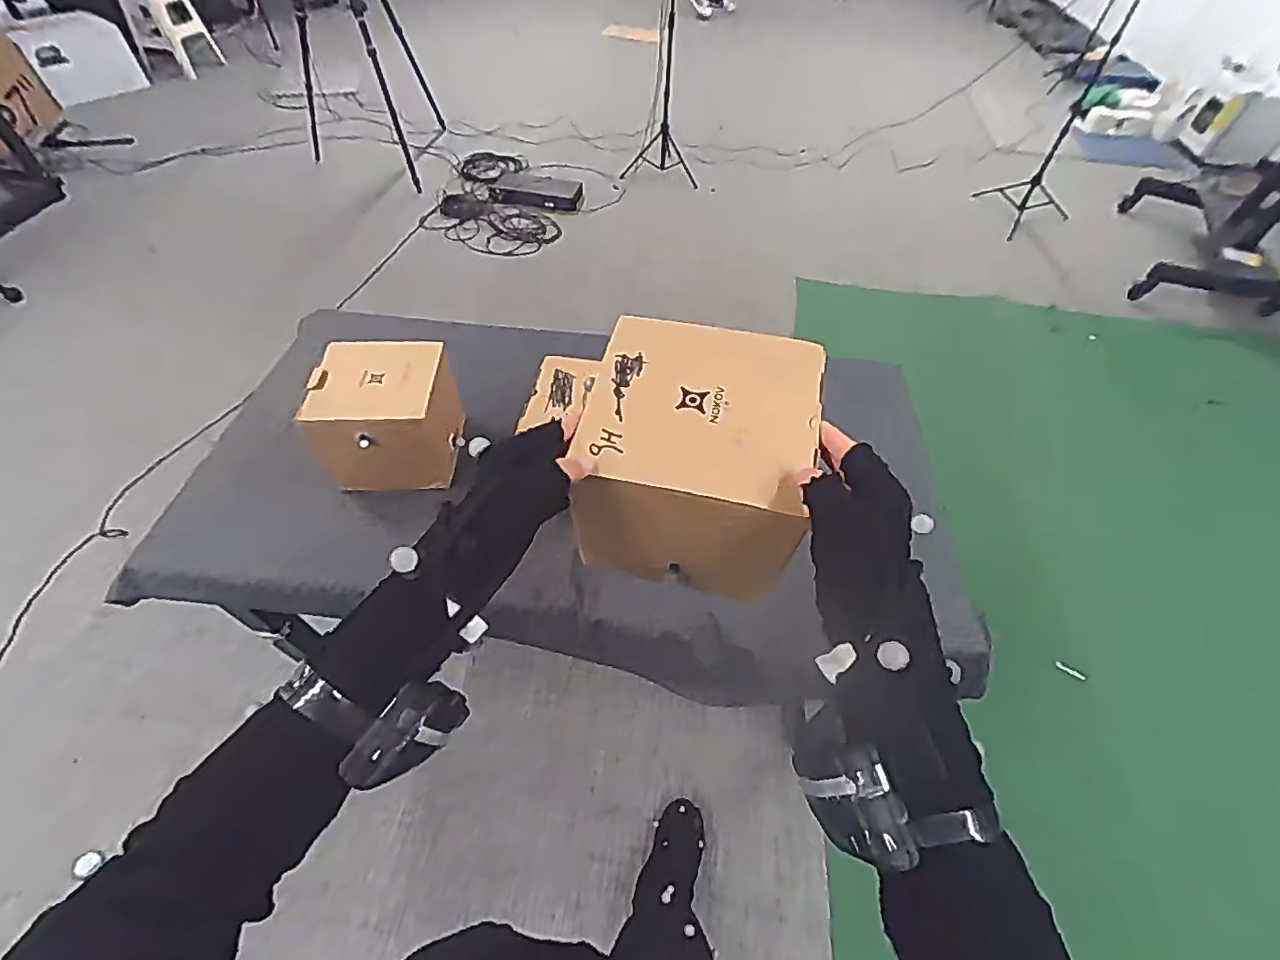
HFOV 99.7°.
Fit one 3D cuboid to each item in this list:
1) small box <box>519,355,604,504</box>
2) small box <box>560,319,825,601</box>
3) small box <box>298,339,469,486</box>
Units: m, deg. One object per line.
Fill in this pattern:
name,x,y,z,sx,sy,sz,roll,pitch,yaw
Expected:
small box,-0.071,-0.068,0.837,0.179,0.176,0.168,8,53,3
small box,0.045,-0.009,0.474,0.179,0.176,0.168,12,57,7
small box,-0.386,-0.102,0.850,0.179,0.176,0.168,0,54,-3
